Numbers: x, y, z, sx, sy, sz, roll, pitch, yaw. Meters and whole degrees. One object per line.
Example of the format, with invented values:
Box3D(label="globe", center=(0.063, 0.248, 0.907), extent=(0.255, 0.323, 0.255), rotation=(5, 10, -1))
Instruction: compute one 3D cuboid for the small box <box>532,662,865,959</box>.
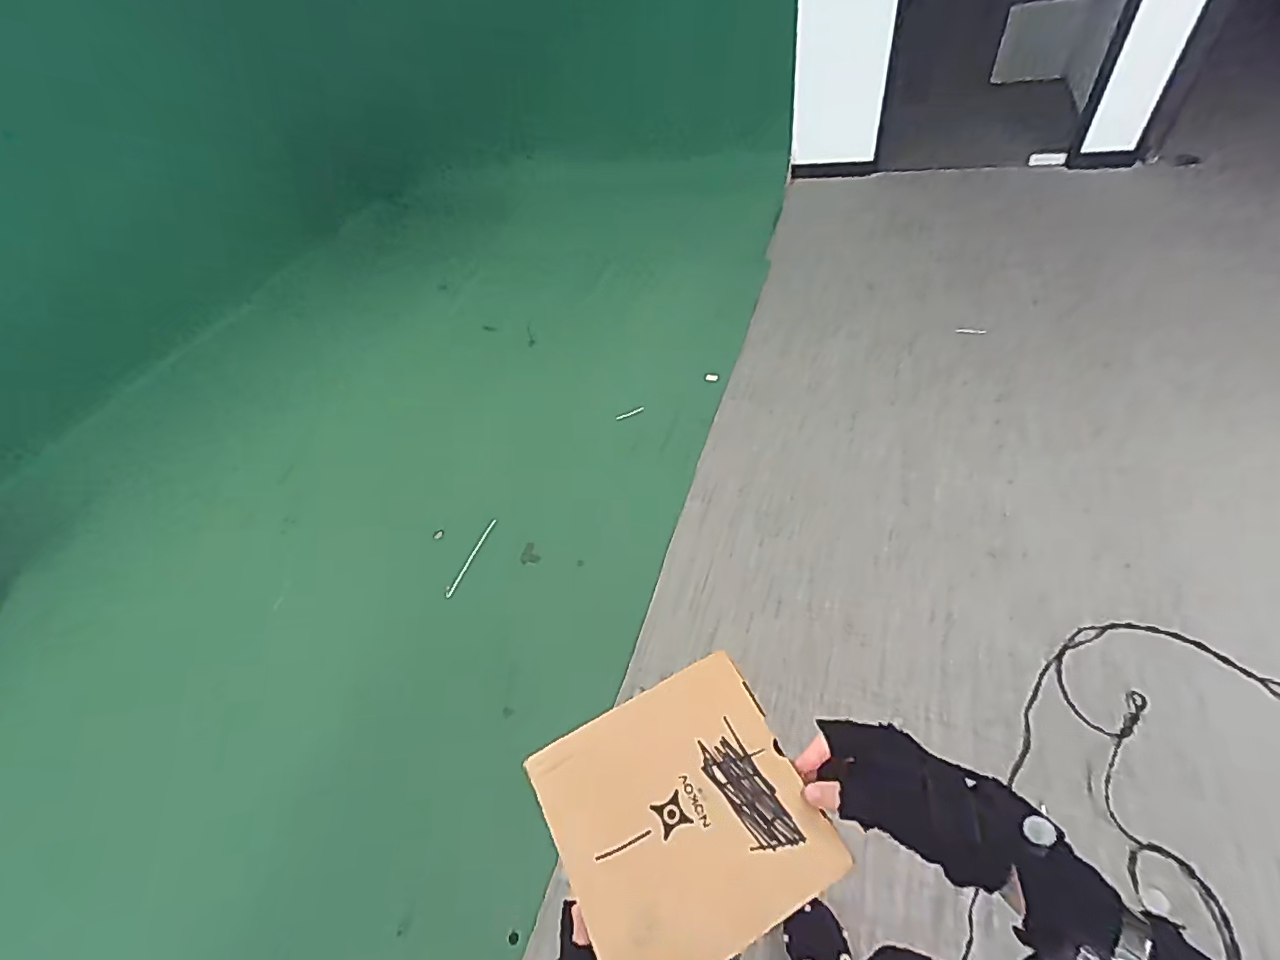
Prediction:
Box3D(label="small box", center=(0.034, 0.276, 0.431), extent=(0.179, 0.176, 0.168), rotation=(-24, 59, -15))
